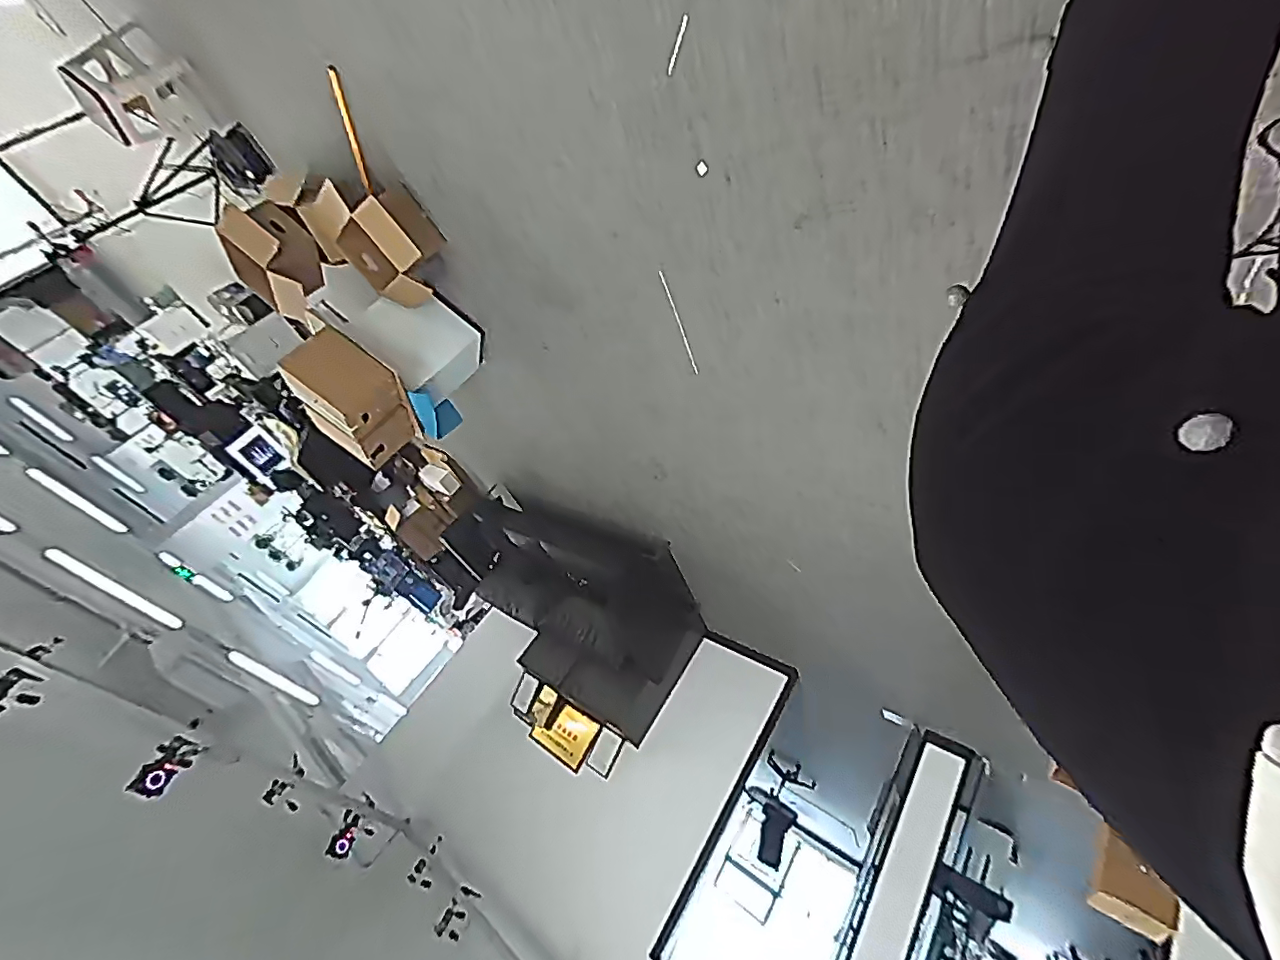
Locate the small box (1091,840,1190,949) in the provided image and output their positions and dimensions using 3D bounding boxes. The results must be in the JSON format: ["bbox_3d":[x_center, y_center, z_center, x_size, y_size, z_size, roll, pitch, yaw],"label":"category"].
[{"bbox_3d":[1.413,1.166,1.528,0.168,0.176,0.179,16,143,38],"label":"small box"}]

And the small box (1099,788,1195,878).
[{"bbox_3d":[1.513,1.065,1.613,0.168,0.176,0.179,18,144,37],"label":"small box"}]
